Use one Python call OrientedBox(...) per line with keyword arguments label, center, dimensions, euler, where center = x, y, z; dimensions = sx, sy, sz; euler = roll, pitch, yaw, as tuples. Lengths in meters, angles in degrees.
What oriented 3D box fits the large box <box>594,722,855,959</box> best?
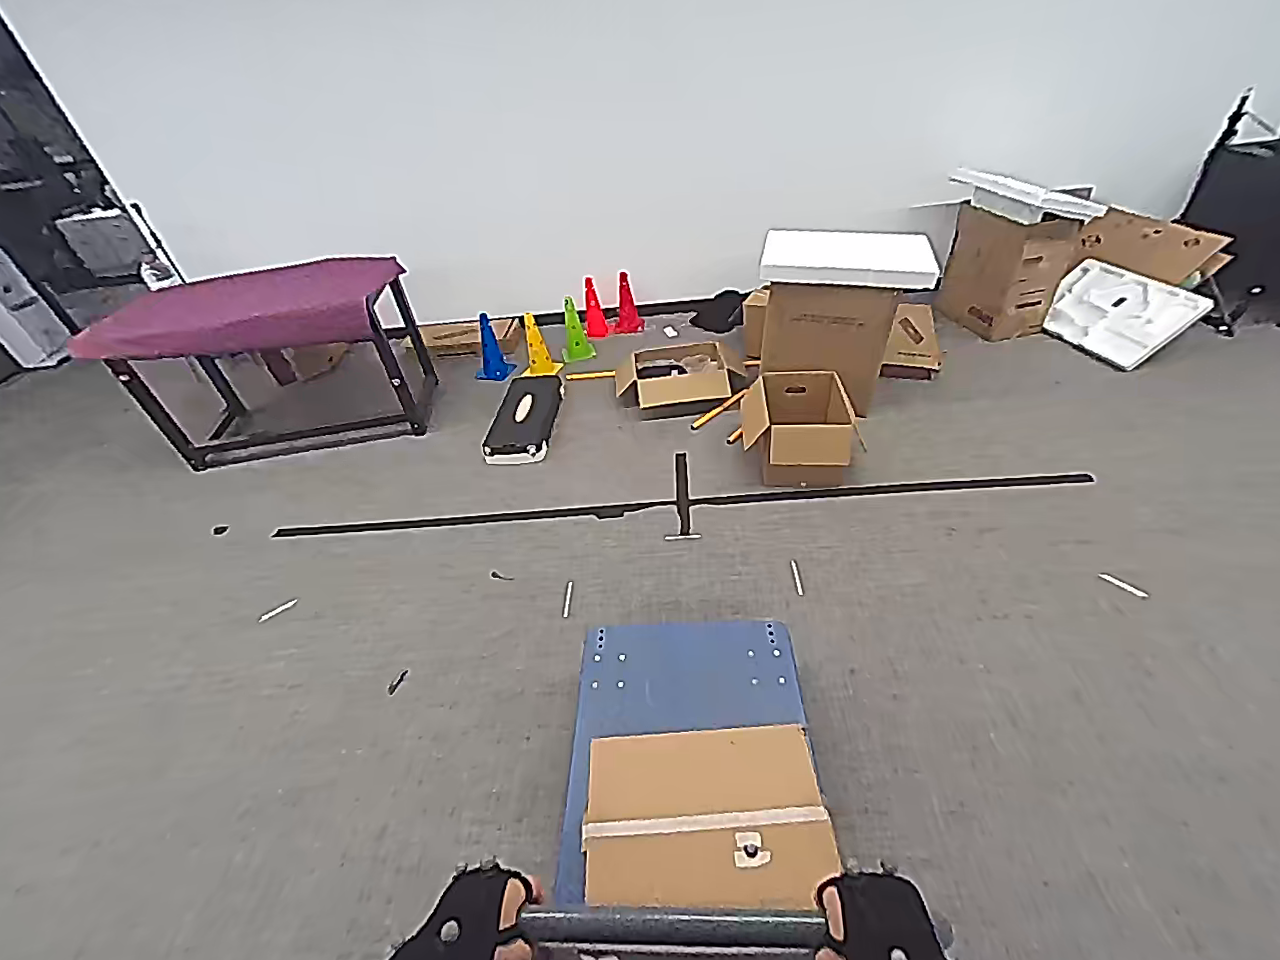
OrientedBox(label="large box", center=(0.128, 0.695, 1.017), dimensions=(0.408, 0.320, 0.320), euler=(-5, 40, 1))
